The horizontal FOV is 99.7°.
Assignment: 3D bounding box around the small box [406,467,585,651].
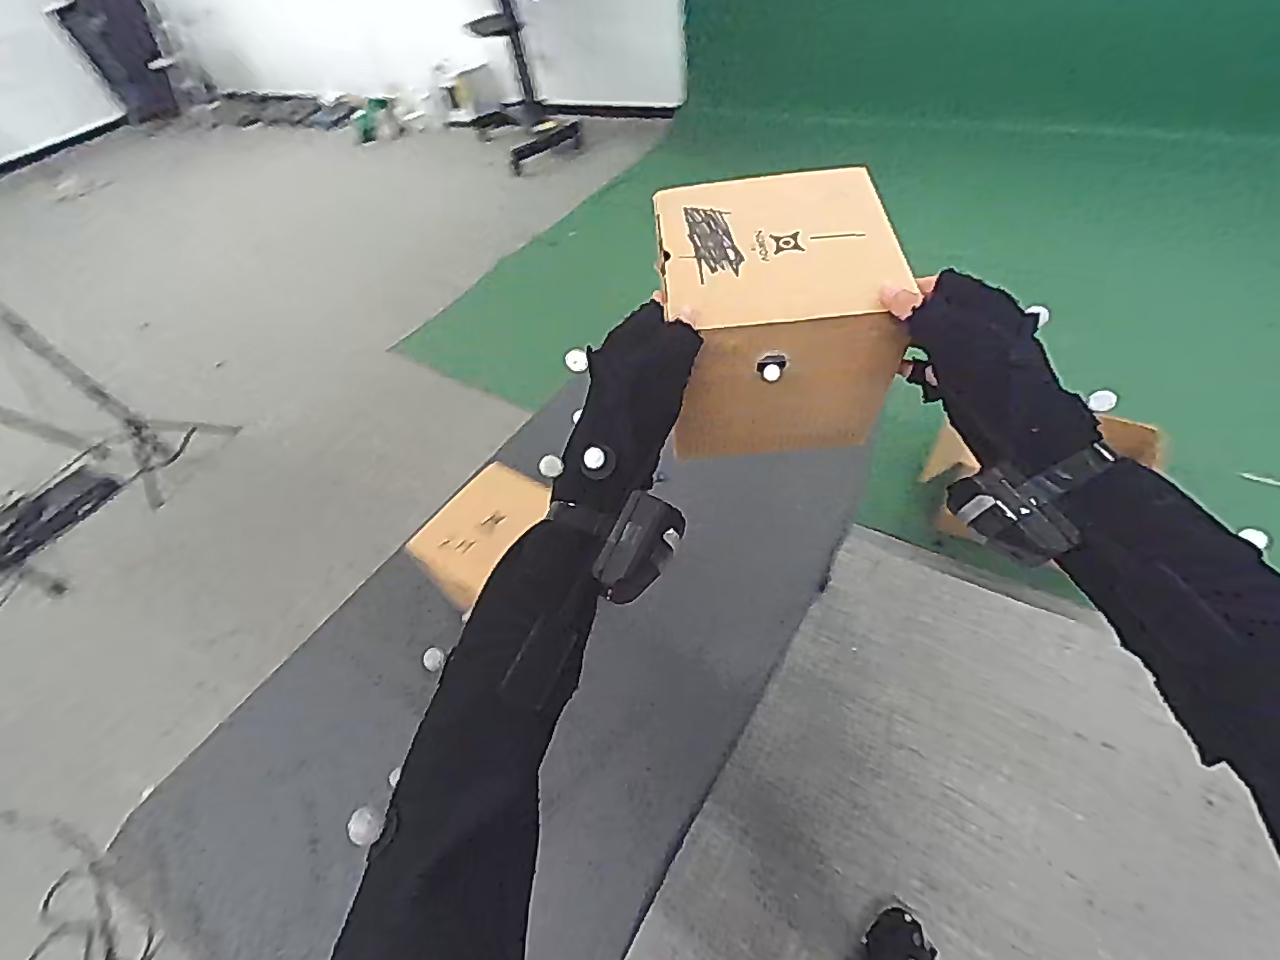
[{"bbox_3d":[-0.198,0.118,0.804,0.168,0.176,0.179,24,59,27],"label":"small box"}]
